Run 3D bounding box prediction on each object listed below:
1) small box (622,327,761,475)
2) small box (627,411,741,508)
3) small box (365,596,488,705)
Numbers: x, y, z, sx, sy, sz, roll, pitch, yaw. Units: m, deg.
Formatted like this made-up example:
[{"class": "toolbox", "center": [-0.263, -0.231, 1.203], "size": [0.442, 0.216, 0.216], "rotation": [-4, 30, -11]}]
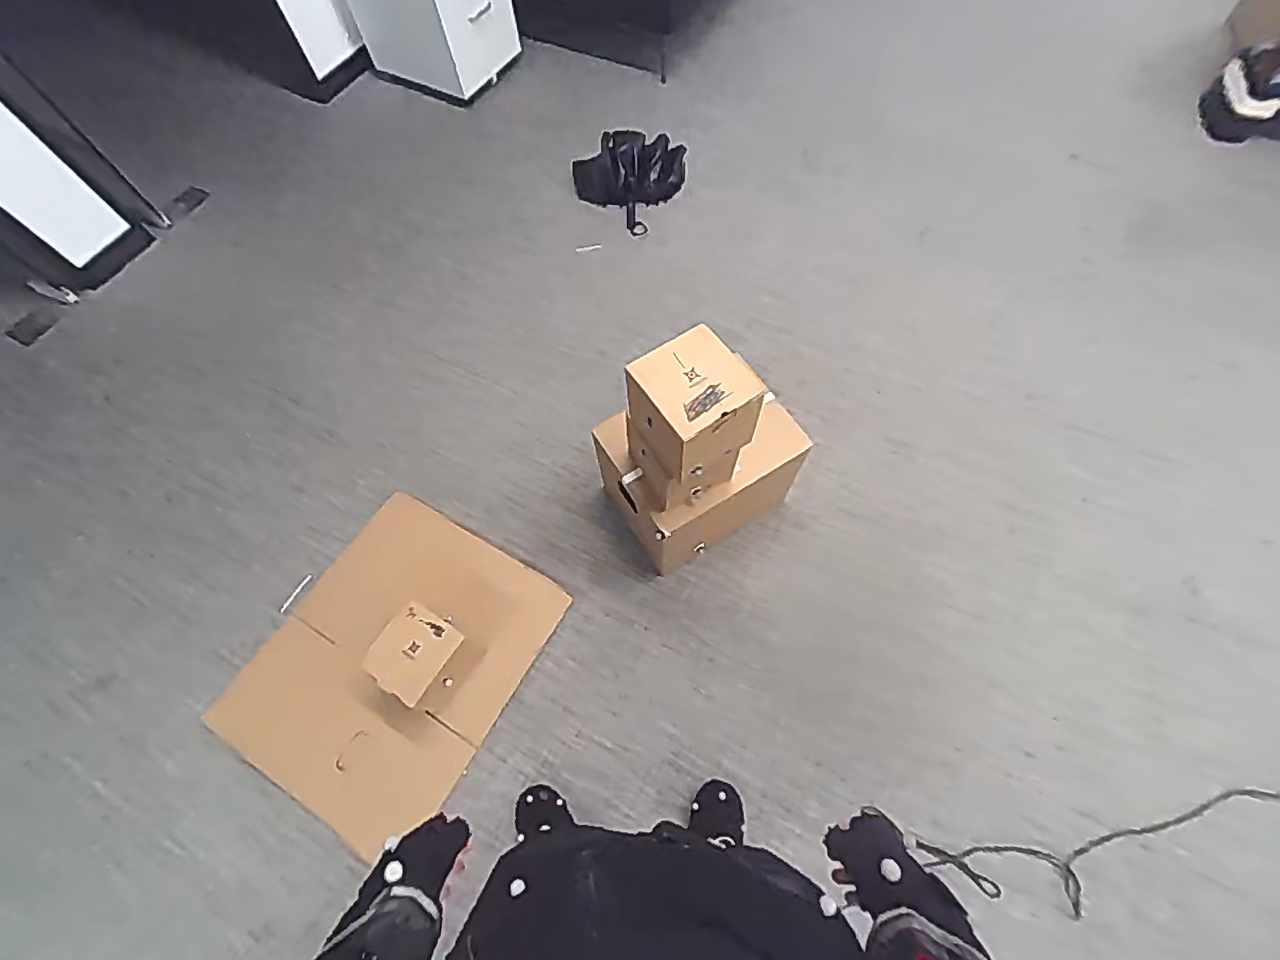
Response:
[{"class": "small box", "center": [0.088, -0.128, 0.968], "size": [0.168, 0.176, 0.179], "rotation": [-34, 70, -12]}, {"class": "small box", "center": [0.084, -0.070, 1.122], "size": [0.168, 0.176, 0.179], "rotation": [-28, 69, -9]}, {"class": "small box", "center": [-0.482, 0.401, 1.251], "size": [0.168, 0.176, 0.179], "rotation": [26, 70, 16]}]
